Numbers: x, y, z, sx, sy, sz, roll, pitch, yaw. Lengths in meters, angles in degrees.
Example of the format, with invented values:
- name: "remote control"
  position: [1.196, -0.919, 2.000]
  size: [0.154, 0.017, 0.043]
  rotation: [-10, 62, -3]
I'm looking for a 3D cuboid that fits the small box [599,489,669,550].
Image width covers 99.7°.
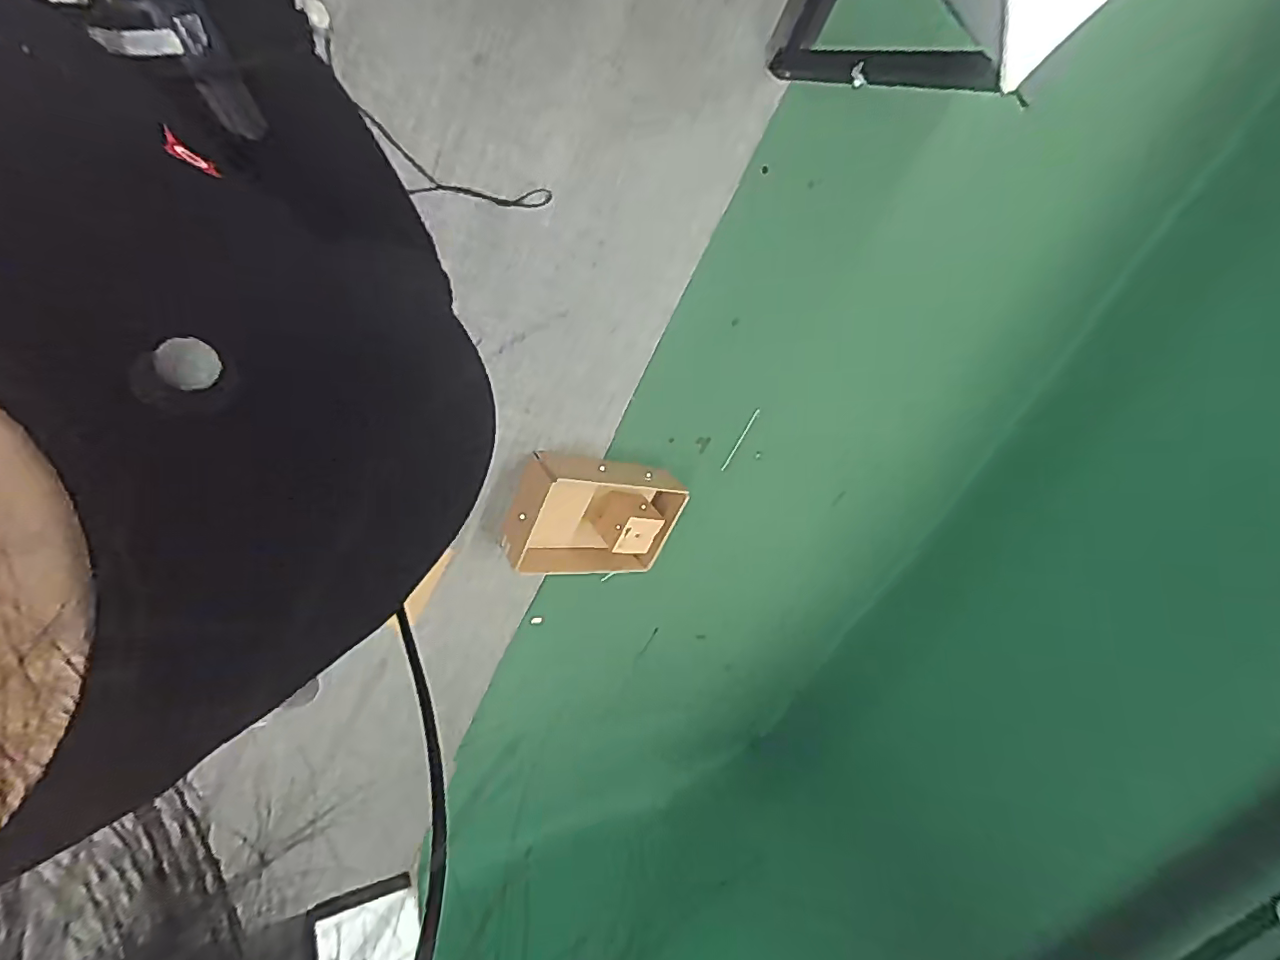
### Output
- name: "small box"
  position: [-0.027, 0.148, 2.065]
  size: [0.179, 0.176, 0.168]
  rotation: [8, 119, -40]
